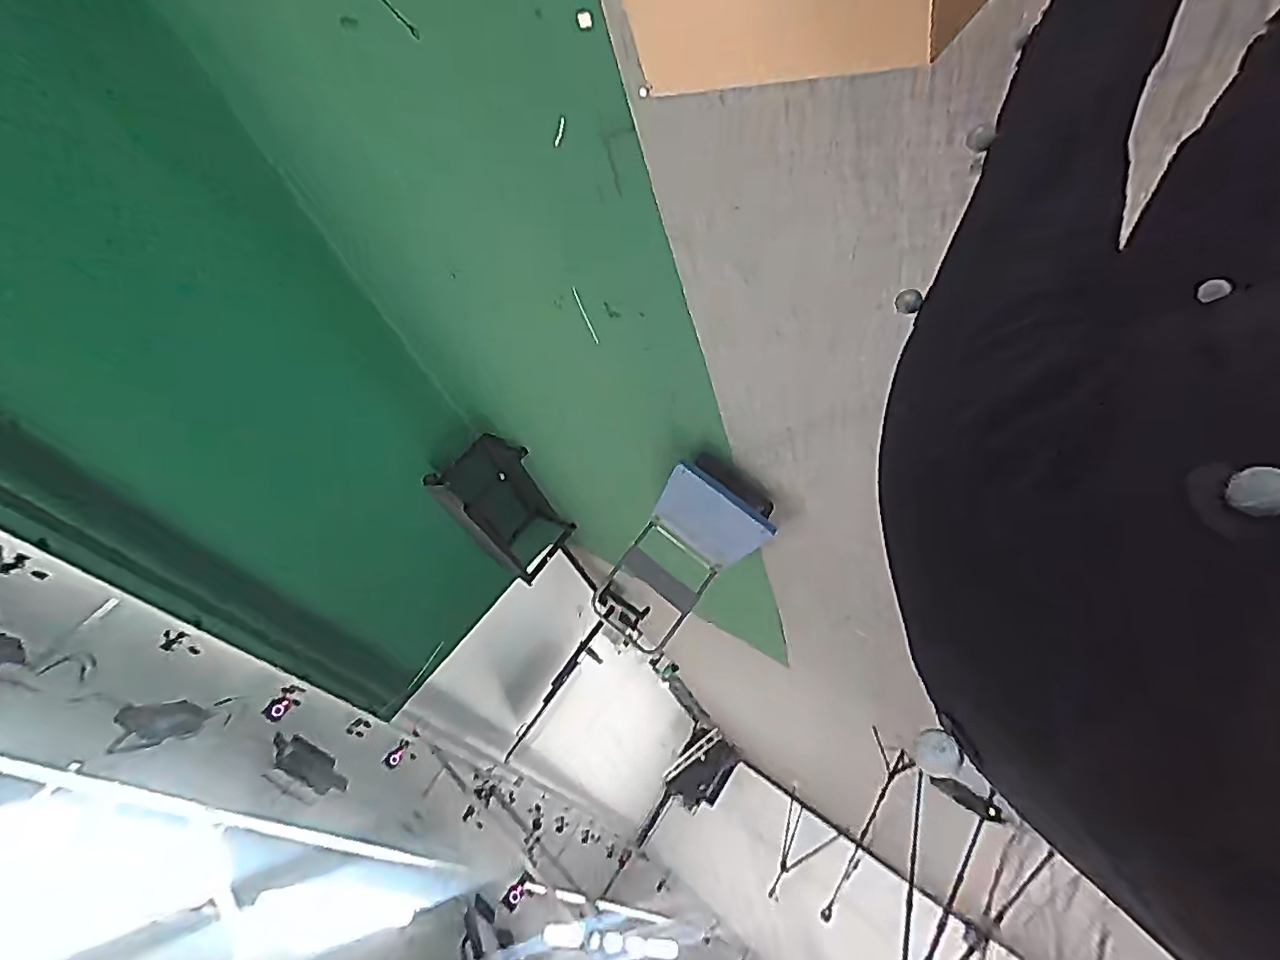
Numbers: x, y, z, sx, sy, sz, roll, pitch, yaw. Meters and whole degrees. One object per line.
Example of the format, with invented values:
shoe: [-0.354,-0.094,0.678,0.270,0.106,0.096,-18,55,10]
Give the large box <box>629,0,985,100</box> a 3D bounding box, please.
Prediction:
large box: [0.213,-0.713,0.640,0.408,0.320,0.320,25,155,36]
